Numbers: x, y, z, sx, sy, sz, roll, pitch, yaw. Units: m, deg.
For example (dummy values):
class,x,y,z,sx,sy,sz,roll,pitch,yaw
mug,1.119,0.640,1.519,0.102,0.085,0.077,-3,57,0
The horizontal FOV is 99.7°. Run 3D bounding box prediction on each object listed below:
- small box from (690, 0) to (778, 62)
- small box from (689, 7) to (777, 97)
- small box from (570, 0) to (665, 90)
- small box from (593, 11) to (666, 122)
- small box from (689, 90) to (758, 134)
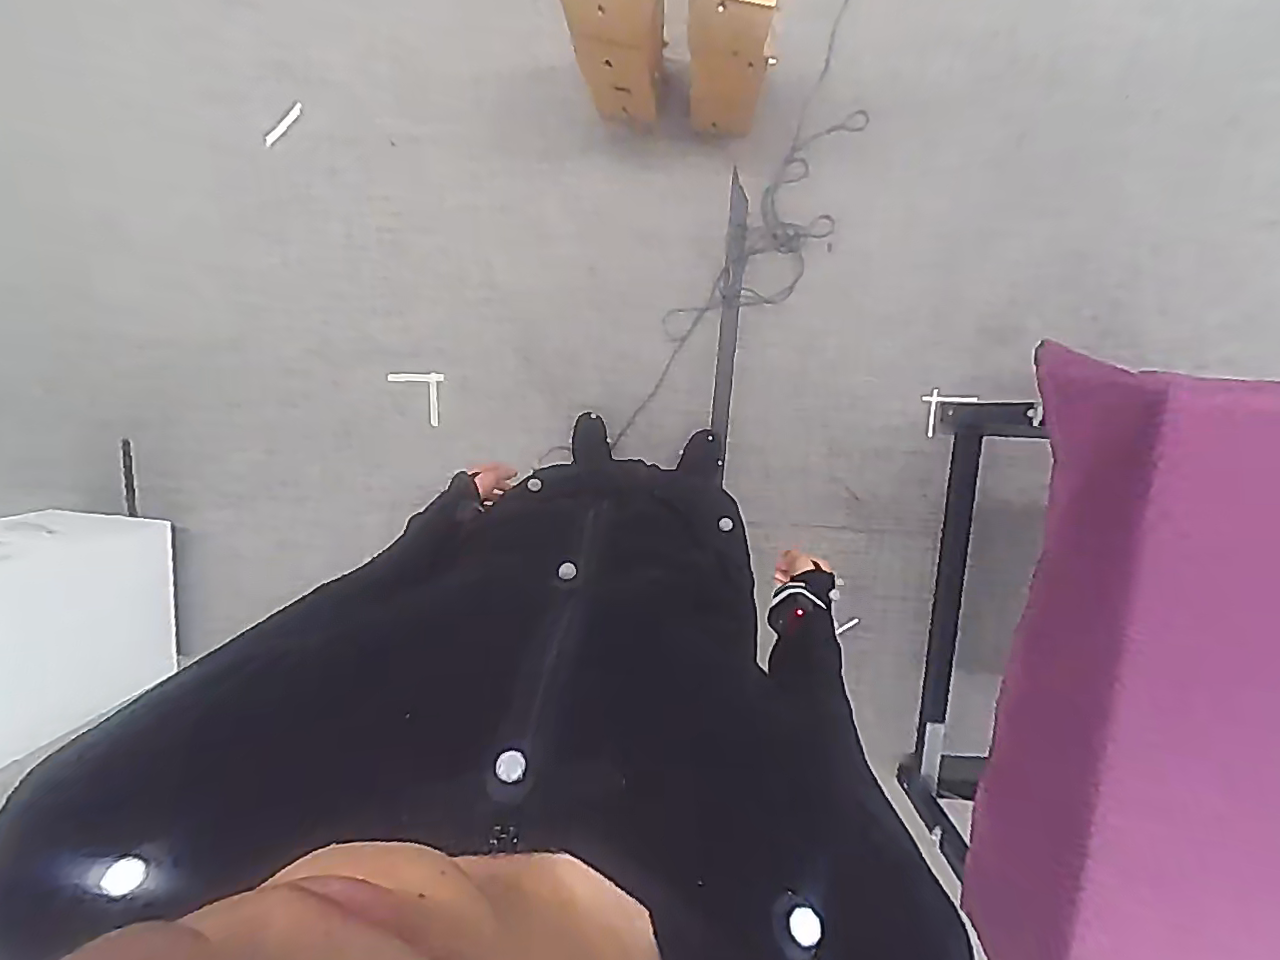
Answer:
class,x,y,z,sx,sy,sz,roll,pitch,yaw
small box,0.195,-0.981,1.064,0.168,0.176,0.179,13,97,2
small box,0.207,-1.005,1.226,0.179,0.176,0.168,6,98,3
small box,-0.044,-1.031,1.232,0.179,0.176,0.168,13,98,3
small box,-0.027,-1.068,1.392,0.168,0.176,0.179,9,99,3
small box,0.216,-1.027,1.386,0.168,0.176,0.179,5,98,3
